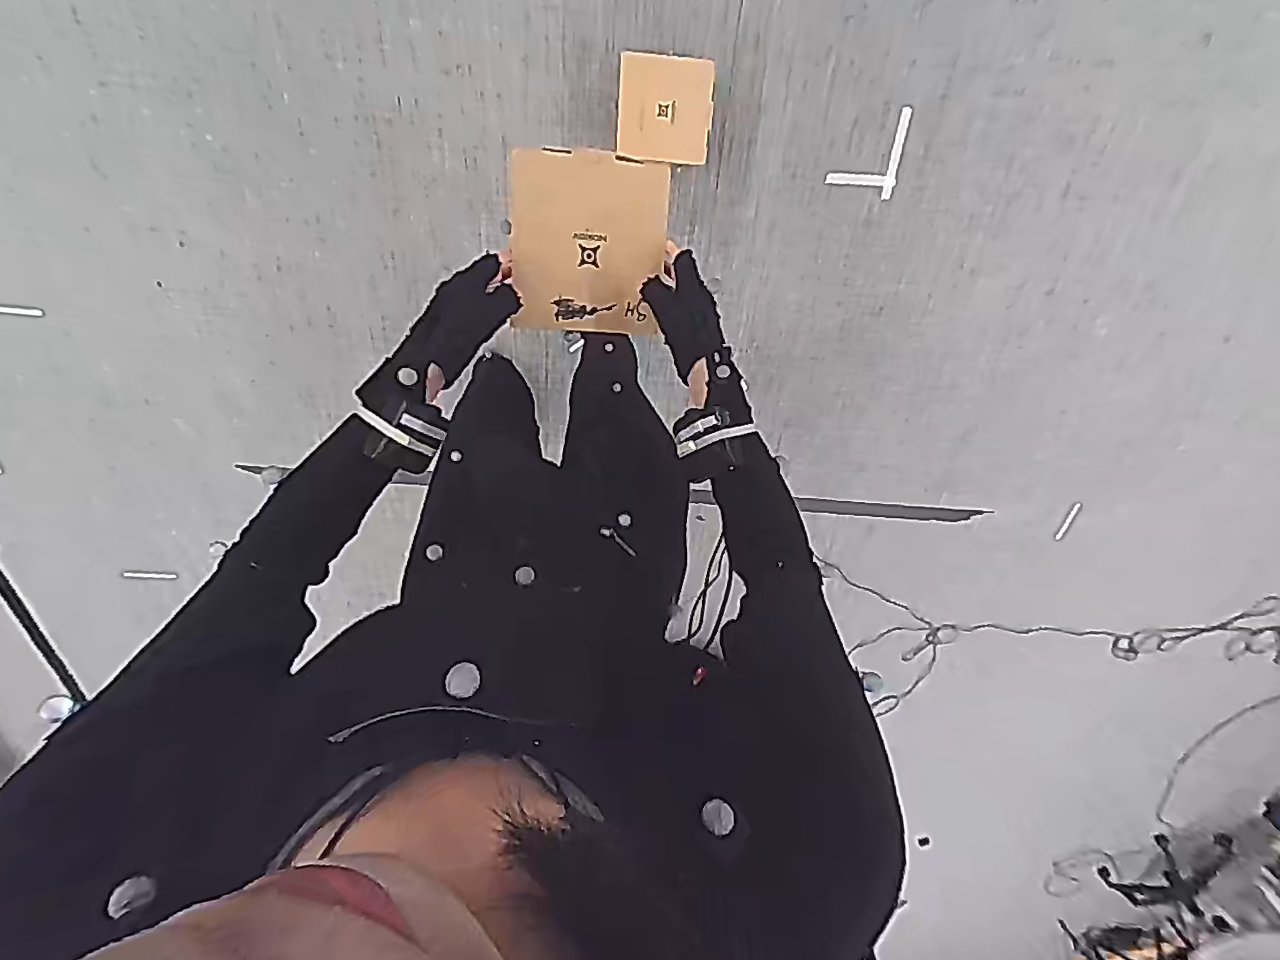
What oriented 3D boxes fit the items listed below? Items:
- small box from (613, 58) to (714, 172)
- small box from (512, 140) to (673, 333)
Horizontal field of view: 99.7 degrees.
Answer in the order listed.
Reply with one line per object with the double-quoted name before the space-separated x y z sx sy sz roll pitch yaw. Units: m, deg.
"small box" 0.038 -0.714 1.074 0.179 0.176 0.168 3 119 -4
"small box" -0.068 -0.279 0.653 0.168 0.176 0.179 1 110 -13
